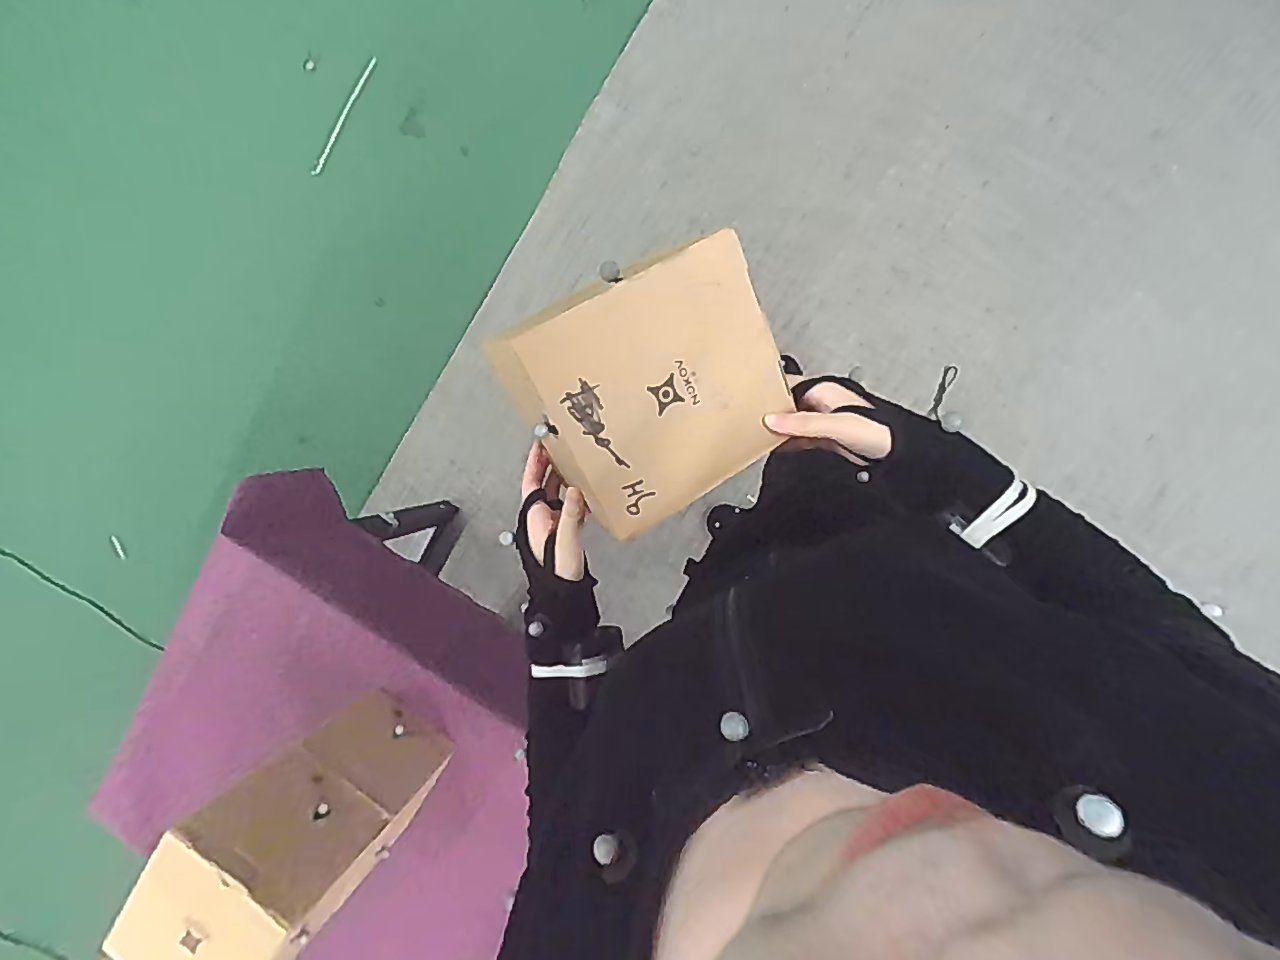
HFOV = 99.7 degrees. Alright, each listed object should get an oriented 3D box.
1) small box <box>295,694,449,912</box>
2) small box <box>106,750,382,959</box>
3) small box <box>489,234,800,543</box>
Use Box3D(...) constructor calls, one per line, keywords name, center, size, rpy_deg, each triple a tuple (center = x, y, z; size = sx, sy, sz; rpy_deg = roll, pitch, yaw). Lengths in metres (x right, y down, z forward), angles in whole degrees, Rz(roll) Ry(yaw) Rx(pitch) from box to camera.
Box3D(name="small box", center=(-0.415, 0.457, 0.793), size=(0.168, 0.176, 0.179), rpy_deg=(34, 98, 5))
Box3D(name="small box", center=(-0.443, 0.468, 0.633), size=(0.168, 0.176, 0.179), rpy_deg=(34, 98, 6))
Box3D(name="small box", center=(-0.005, -0.081, 0.455), size=(0.179, 0.176, 0.168), rpy_deg=(-32, 112, -13))
